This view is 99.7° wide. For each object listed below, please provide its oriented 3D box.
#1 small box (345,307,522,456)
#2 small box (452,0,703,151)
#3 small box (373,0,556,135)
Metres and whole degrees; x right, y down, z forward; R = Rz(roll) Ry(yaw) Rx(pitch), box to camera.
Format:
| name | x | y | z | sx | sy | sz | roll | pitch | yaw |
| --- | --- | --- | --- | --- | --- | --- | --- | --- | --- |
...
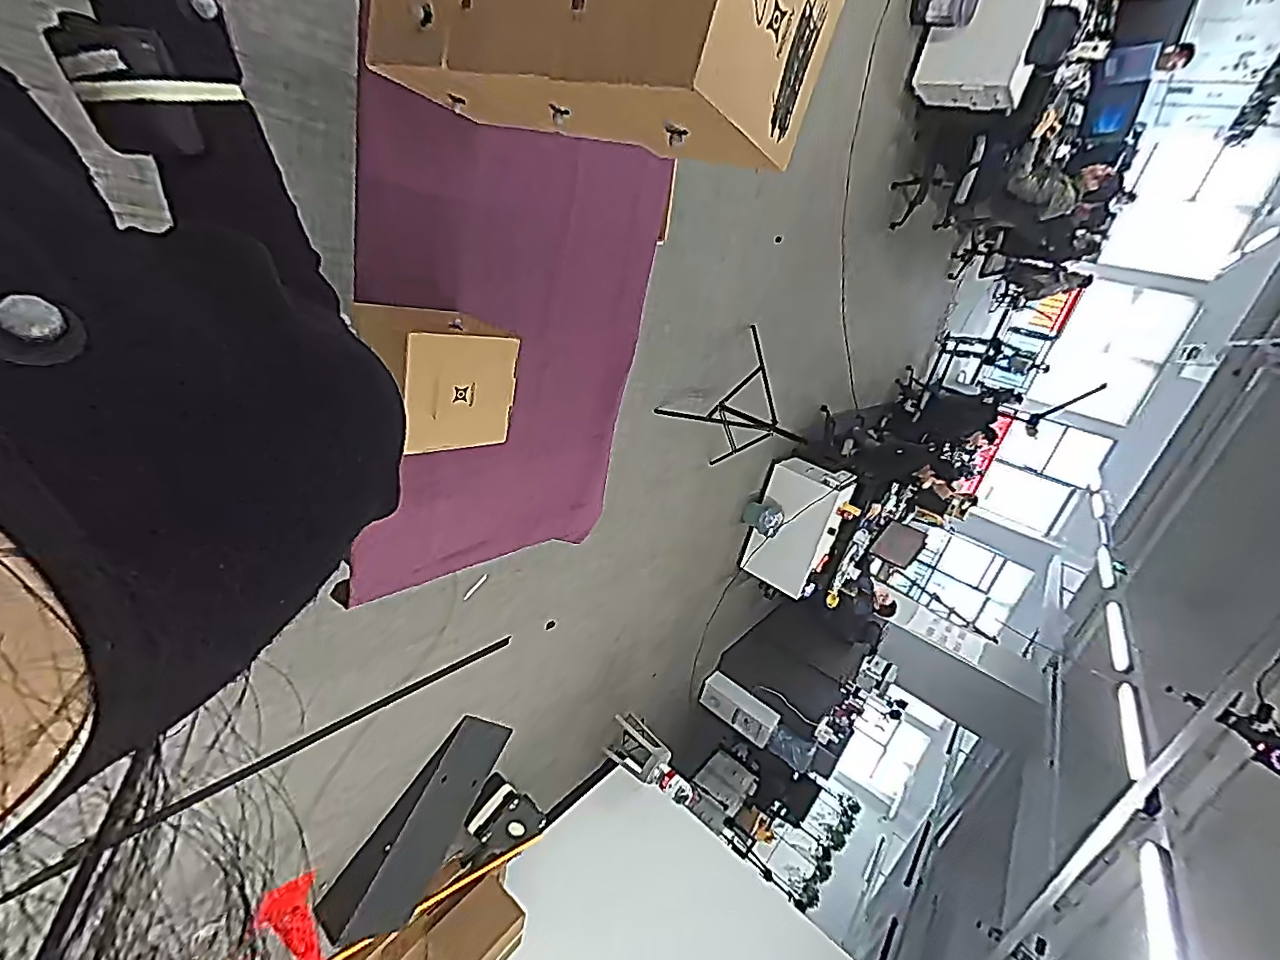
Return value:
| name | x | y | z | sx | sy | sz | roll | pitch | yaw |
| --- | --- | --- | --- | --- | --- | --- | --- | --- | --- |
| small box | -0.304 | -0.149 | 0.796 | 0.179 | 0.176 | 0.168 | -14 | 124 | -49 |
| small box | -0.065 | -0.474 | 0.566 | 0.179 | 0.176 | 0.168 | -10 | 123 | -51 |
| small box | -0.193 | -0.544 | 0.642 | 0.168 | 0.176 | 0.179 | -10 | 122 | -53 |
